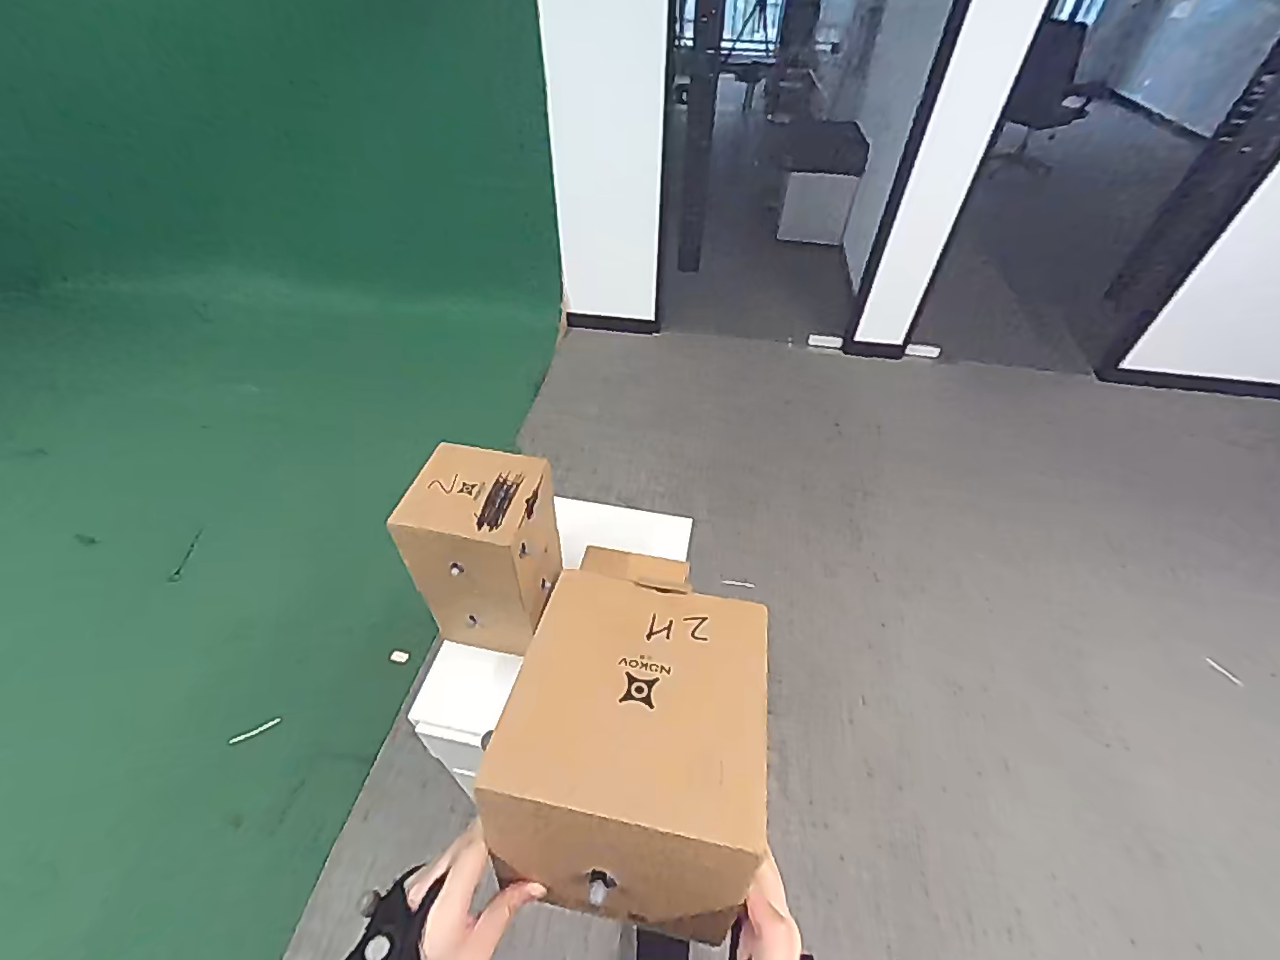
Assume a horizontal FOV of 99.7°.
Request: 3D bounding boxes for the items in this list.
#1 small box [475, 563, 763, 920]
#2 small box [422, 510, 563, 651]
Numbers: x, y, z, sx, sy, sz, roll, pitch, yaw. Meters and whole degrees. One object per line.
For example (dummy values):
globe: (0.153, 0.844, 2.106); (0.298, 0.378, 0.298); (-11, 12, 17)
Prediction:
small box: (-0.004, 0.195, 0.414); (0.168, 0.176, 0.179); (10, 37, 6)
small box: (-0.241, 0.177, 0.938); (0.179, 0.176, 0.168); (9, 48, 6)
